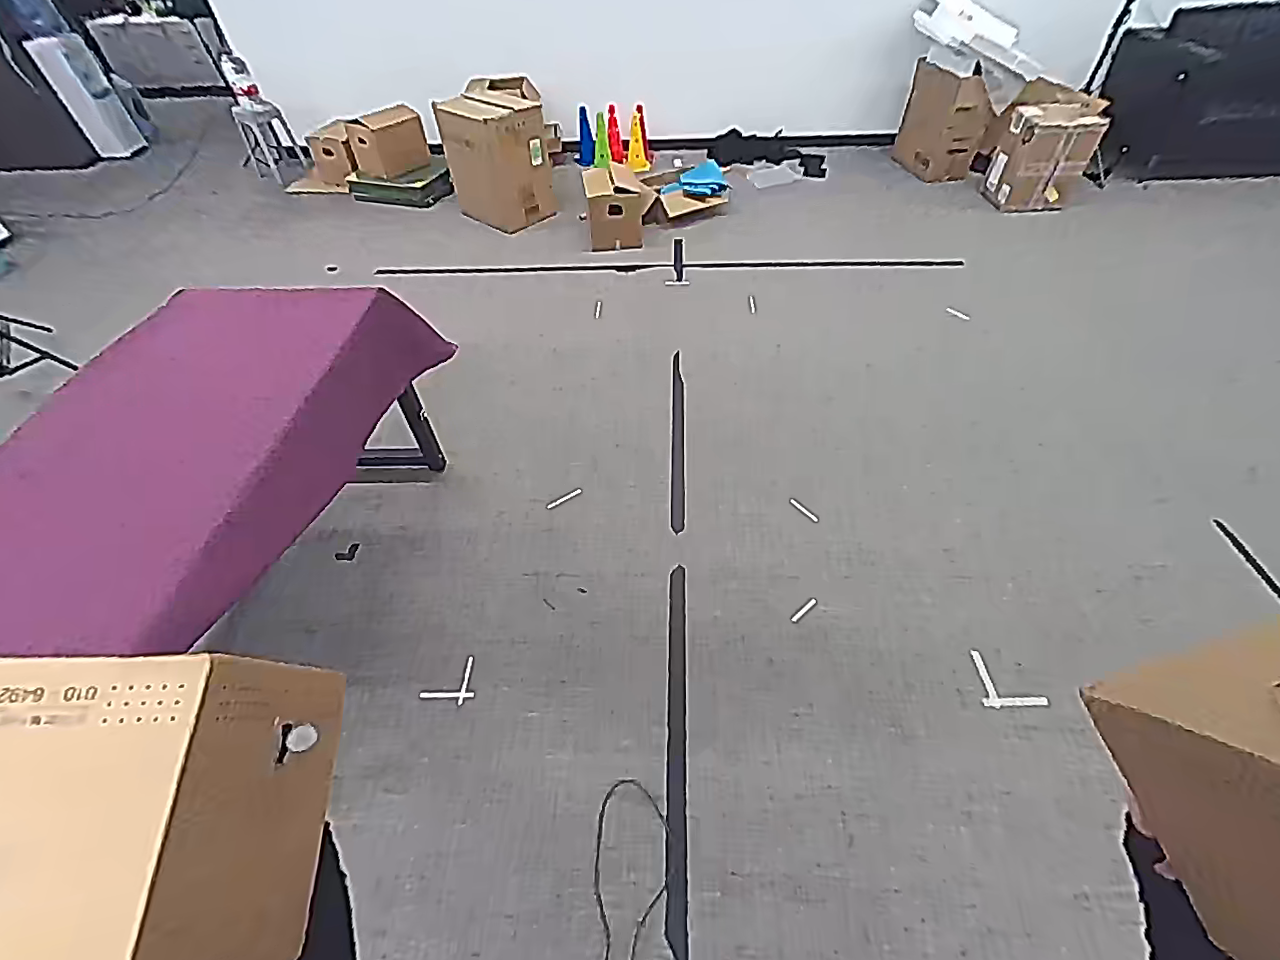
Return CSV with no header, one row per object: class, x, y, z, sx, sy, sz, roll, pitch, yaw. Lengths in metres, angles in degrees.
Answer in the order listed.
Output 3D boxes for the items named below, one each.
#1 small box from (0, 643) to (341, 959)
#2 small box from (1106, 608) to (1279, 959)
small box,-0.275,0.173,0.267,0.168,0.179,0.176,2,68,-7
small box,0.385,0.161,0.254,0.168,0.179,0.176,-23,78,8
